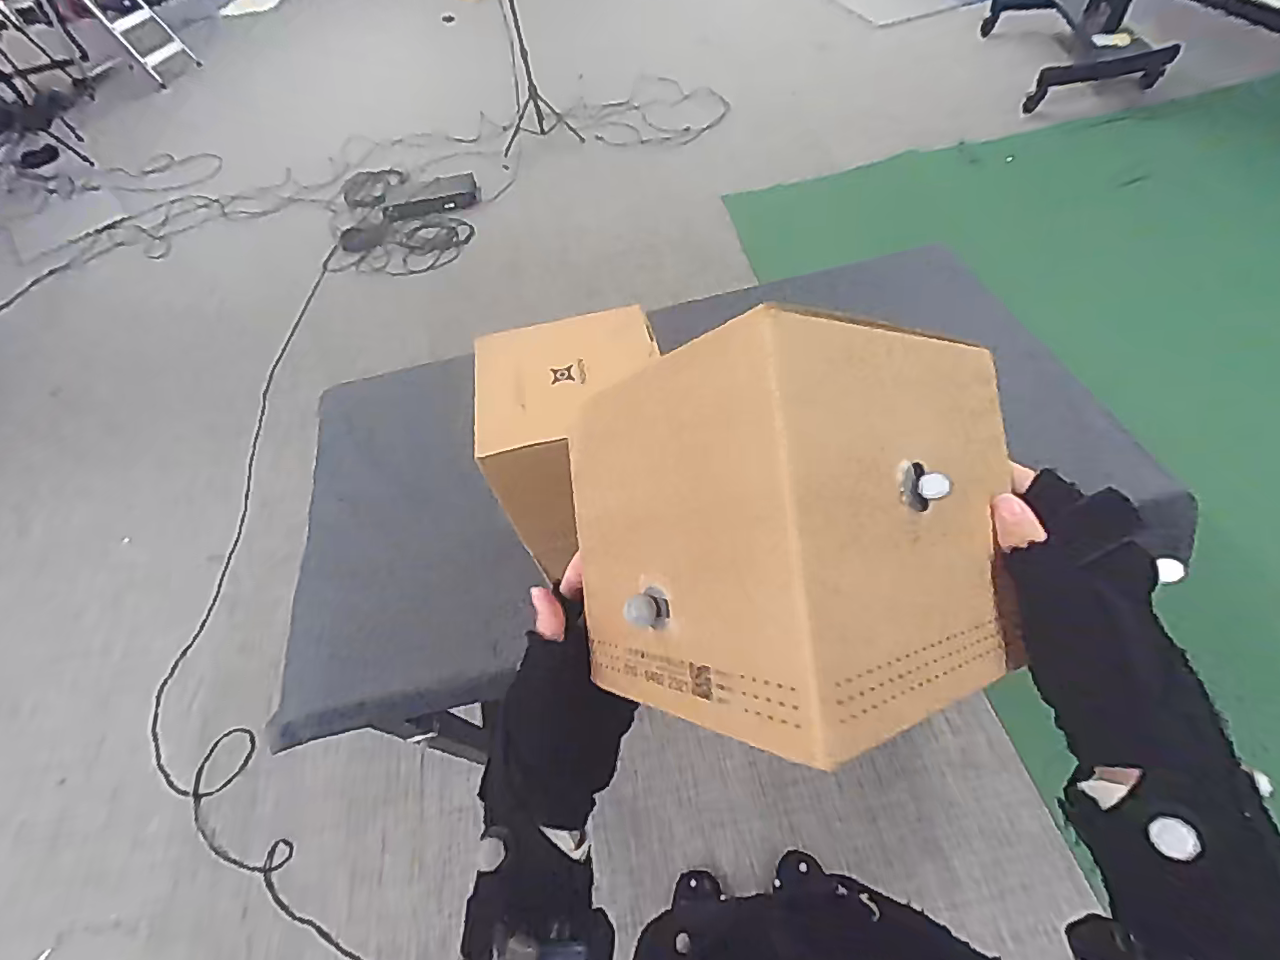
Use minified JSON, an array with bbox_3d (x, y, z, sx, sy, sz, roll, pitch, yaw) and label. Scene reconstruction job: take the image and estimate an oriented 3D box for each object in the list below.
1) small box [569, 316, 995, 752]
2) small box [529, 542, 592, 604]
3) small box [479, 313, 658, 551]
[{"bbox_3d":[0.077,0.026,0.311,0.179,0.168,0.176,-3,84,-35],"label":"small box"},{"bbox_3d":[-0.040,0.046,0.710,0.179,0.176,0.168,-12,54,0],"label":"small box"},{"bbox_3d":[-0.058,-0.046,0.578,0.179,0.176,0.168,-12,52,0],"label":"small box"}]
